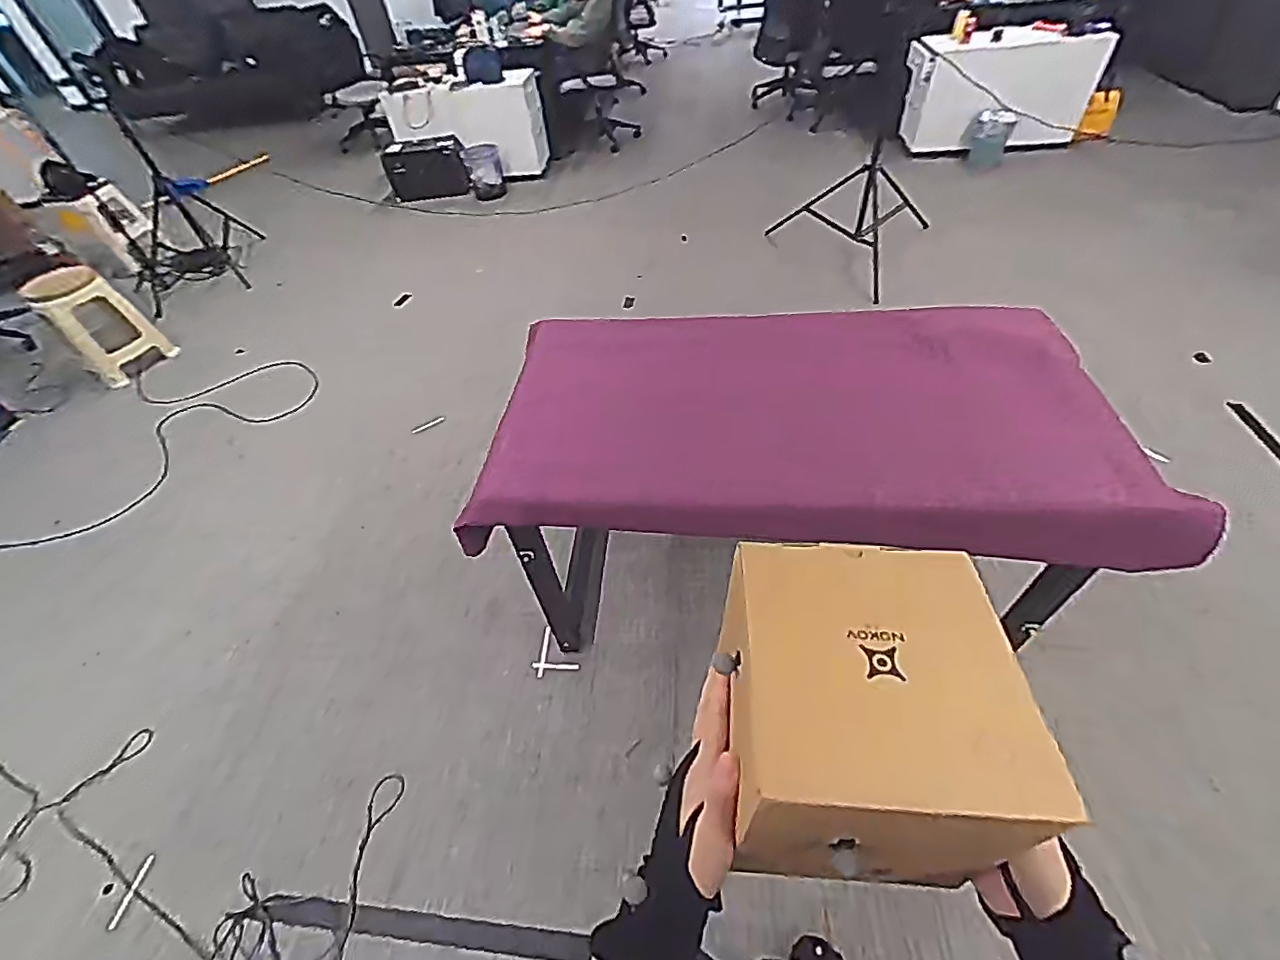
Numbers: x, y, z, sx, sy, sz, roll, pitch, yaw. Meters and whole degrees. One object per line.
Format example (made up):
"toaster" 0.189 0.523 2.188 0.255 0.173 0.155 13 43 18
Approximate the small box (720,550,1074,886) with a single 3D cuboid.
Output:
"small box" 0.150 0.173 0.395 0.168 0.176 0.179 2 43 3
